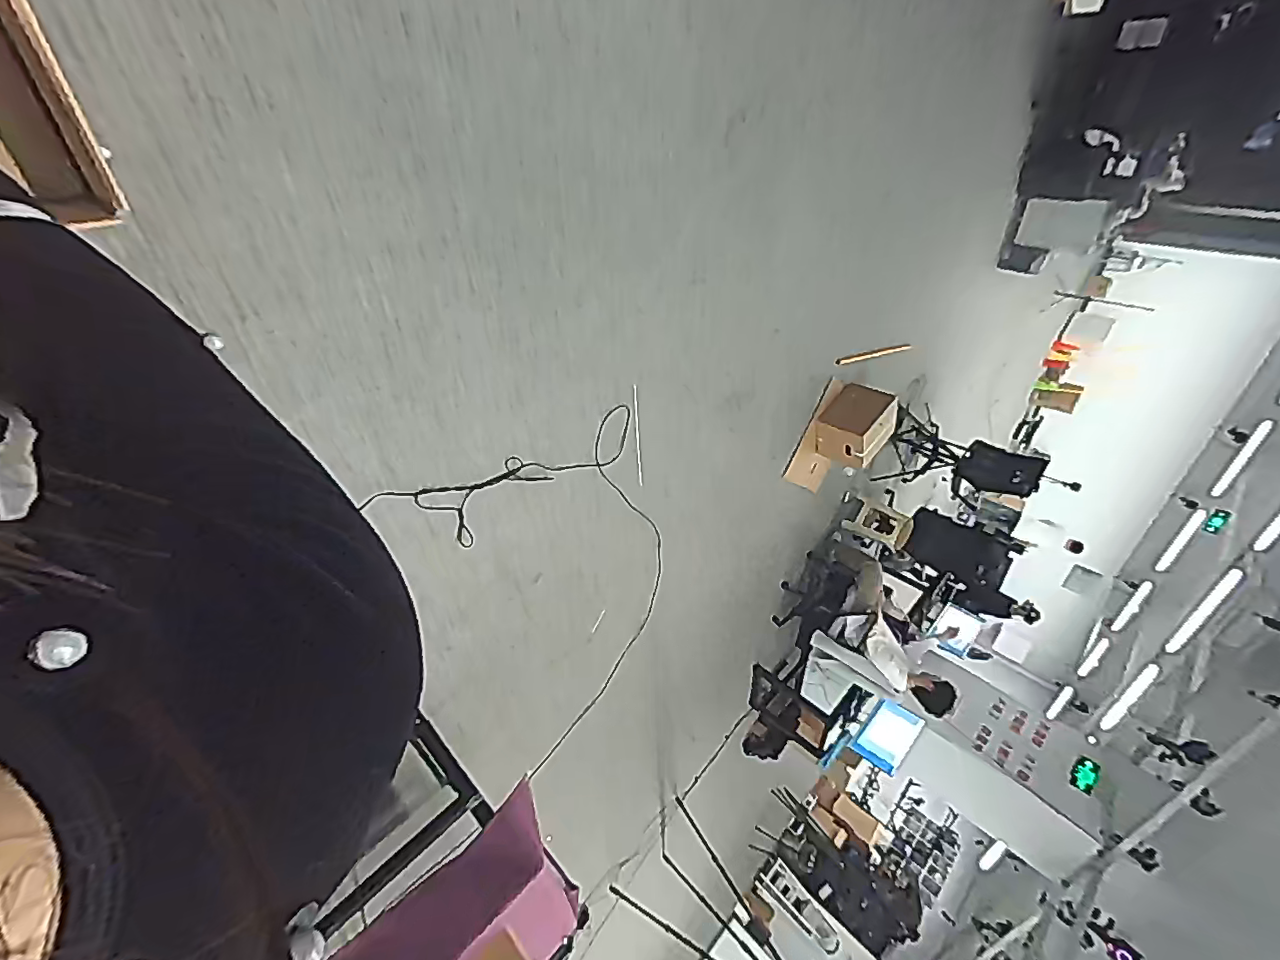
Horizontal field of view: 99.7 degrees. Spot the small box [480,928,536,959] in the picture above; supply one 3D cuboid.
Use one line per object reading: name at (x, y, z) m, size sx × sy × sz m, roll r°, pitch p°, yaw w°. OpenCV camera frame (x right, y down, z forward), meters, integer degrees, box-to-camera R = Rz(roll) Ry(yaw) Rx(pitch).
small box at (-0.348, 1.347, 1.430) m, size 0.179 × 0.176 × 0.168 m, roll -32°, pitch 135°, yaw -31°
